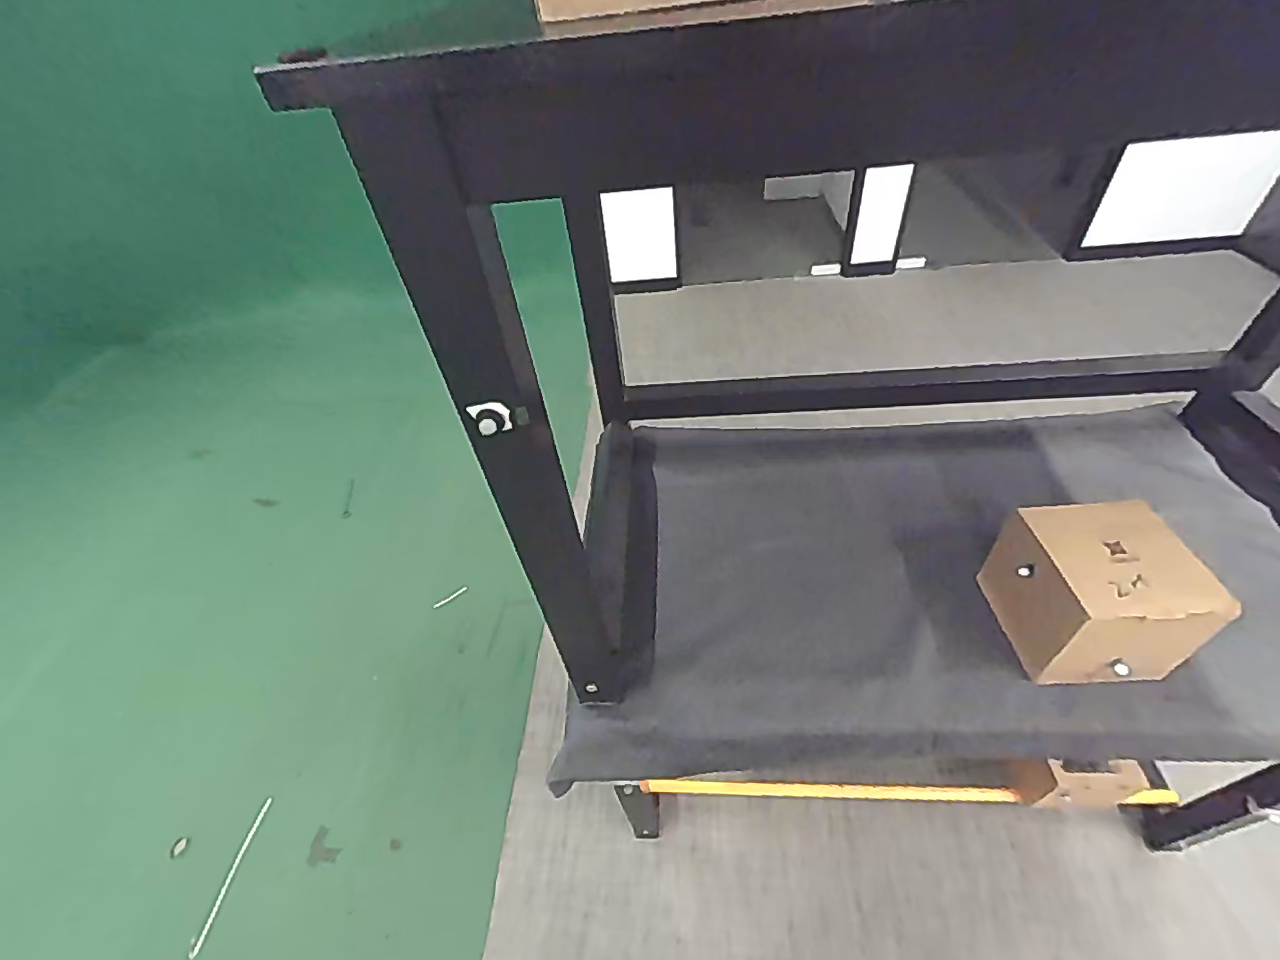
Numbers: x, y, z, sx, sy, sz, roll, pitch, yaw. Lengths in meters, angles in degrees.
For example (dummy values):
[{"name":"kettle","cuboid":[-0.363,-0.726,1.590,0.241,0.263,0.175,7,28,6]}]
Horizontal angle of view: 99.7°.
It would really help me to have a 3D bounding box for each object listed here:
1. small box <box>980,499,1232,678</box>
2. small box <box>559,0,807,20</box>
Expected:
[{"name":"small box","cuboid":[0.603,0.148,0.737,0.168,0.176,0.179,-4,44,4]},{"name":"small box","cuboid":[0.030,-0.356,0.278,0.168,0.176,0.179,-5,44,2]}]
